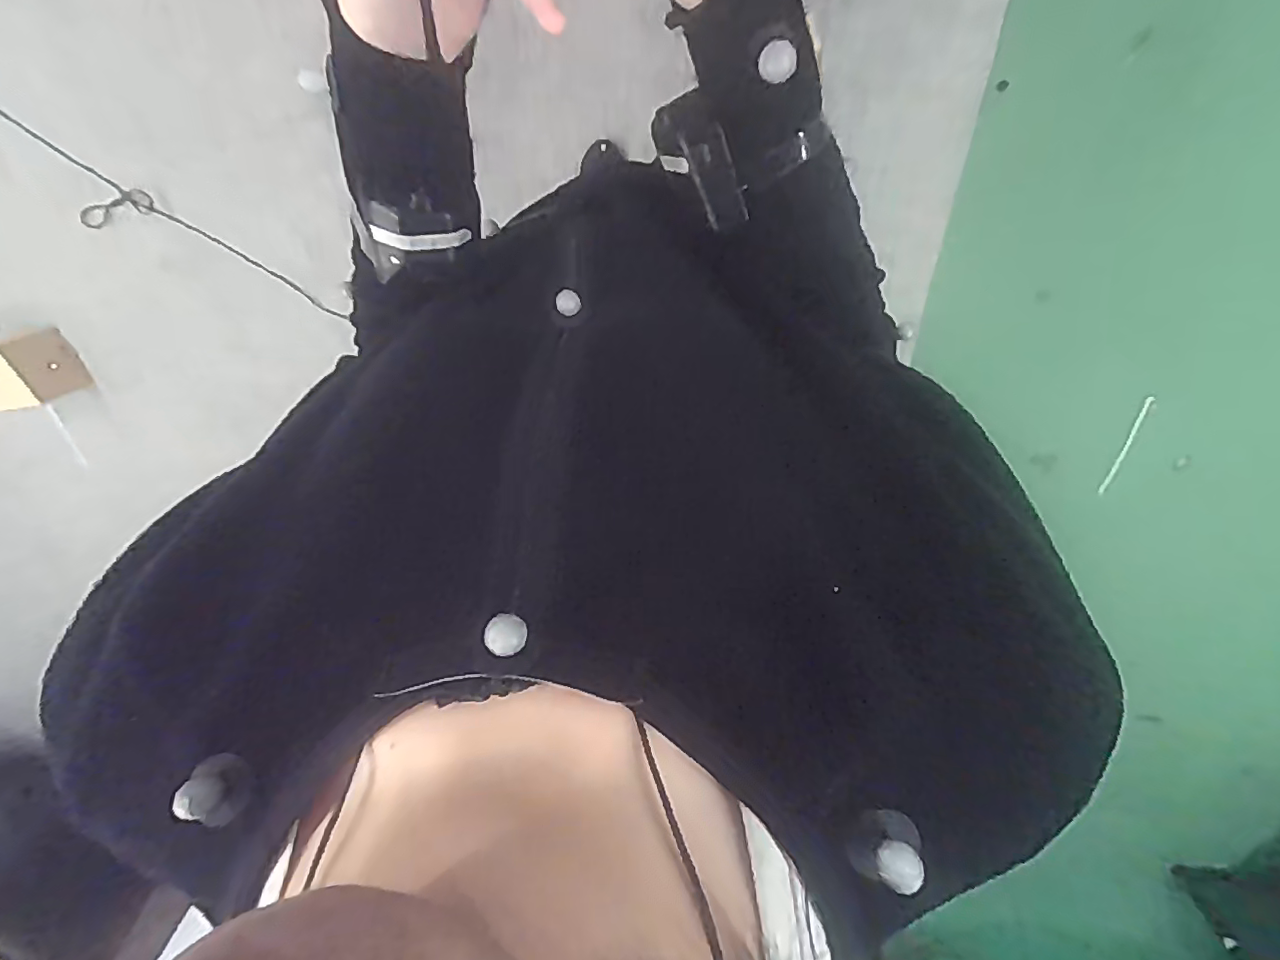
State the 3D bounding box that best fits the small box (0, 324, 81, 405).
[{"bbox_3d":[-1.687,-0.313,1.460,0.179,0.176,0.168,-5,122,6],"label":"small box"}]
